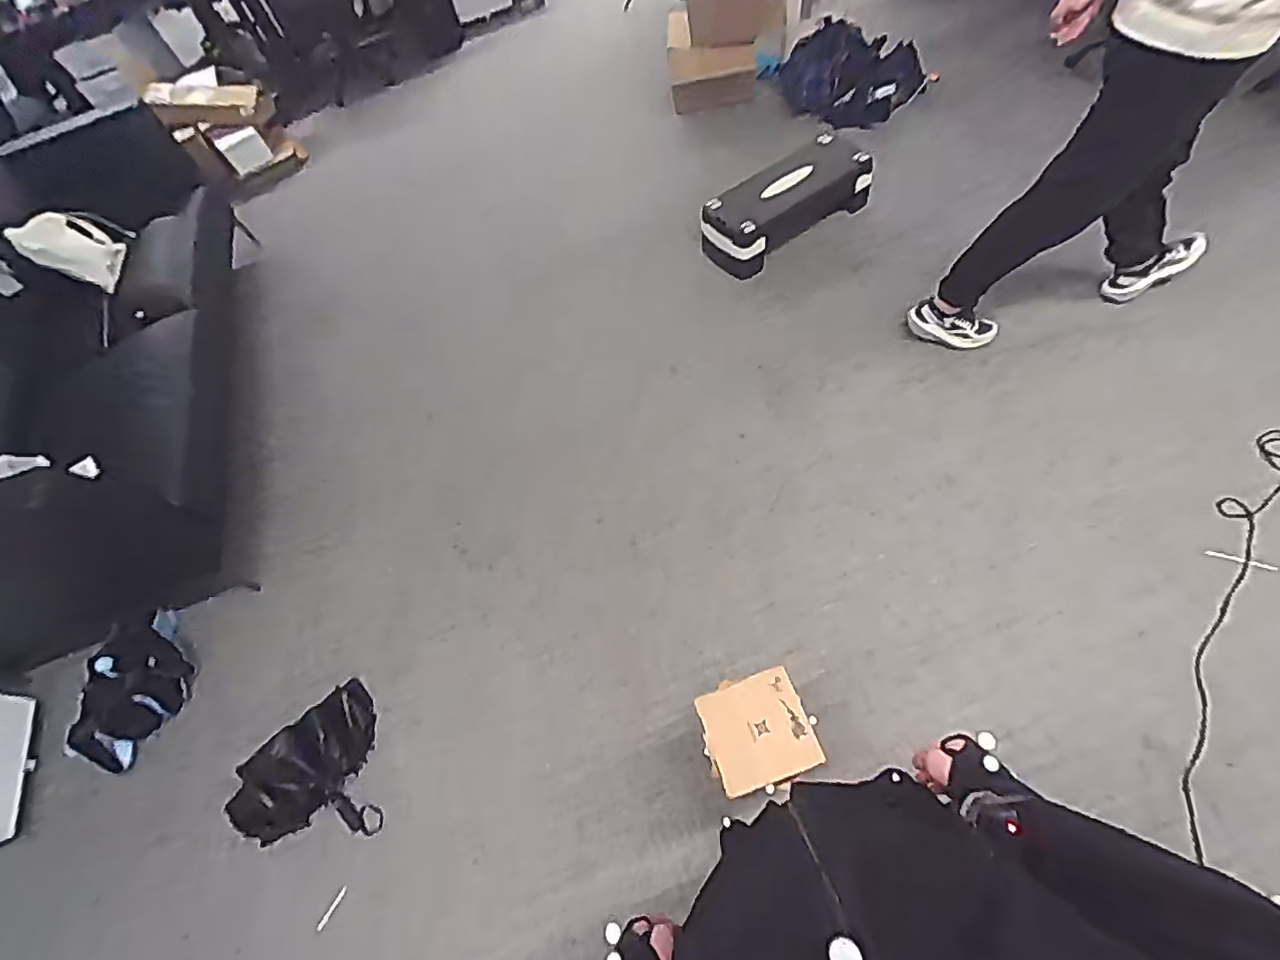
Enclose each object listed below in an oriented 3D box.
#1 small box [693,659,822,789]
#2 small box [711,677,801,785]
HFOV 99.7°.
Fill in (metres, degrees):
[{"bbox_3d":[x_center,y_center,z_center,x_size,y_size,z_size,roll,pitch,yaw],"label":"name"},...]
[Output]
[{"bbox_3d":[0.215,0.453,0.996,0.179,0.176,0.168,-22,60,2],"label":"small box"},{"bbox_3d":[0.245,0.528,1.138,0.168,0.176,0.179,3,63,14],"label":"small box"}]
